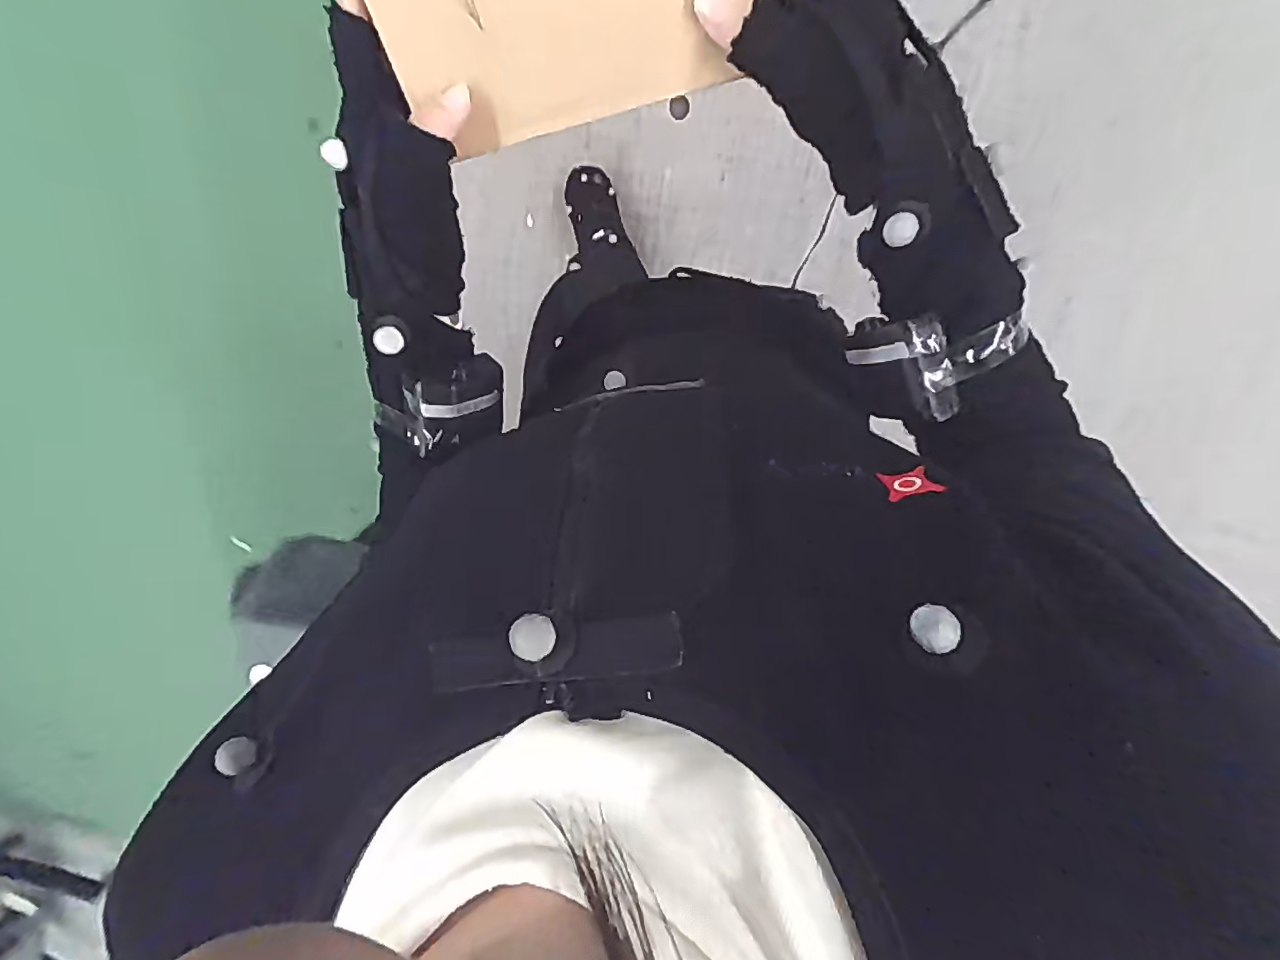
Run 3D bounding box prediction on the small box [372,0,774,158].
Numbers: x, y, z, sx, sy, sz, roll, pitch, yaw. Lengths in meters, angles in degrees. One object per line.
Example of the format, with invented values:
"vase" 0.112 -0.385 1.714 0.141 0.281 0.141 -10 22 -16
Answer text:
"small box" -0.039 -0.291 0.280 0.179 0.176 0.168 -10 126 9
